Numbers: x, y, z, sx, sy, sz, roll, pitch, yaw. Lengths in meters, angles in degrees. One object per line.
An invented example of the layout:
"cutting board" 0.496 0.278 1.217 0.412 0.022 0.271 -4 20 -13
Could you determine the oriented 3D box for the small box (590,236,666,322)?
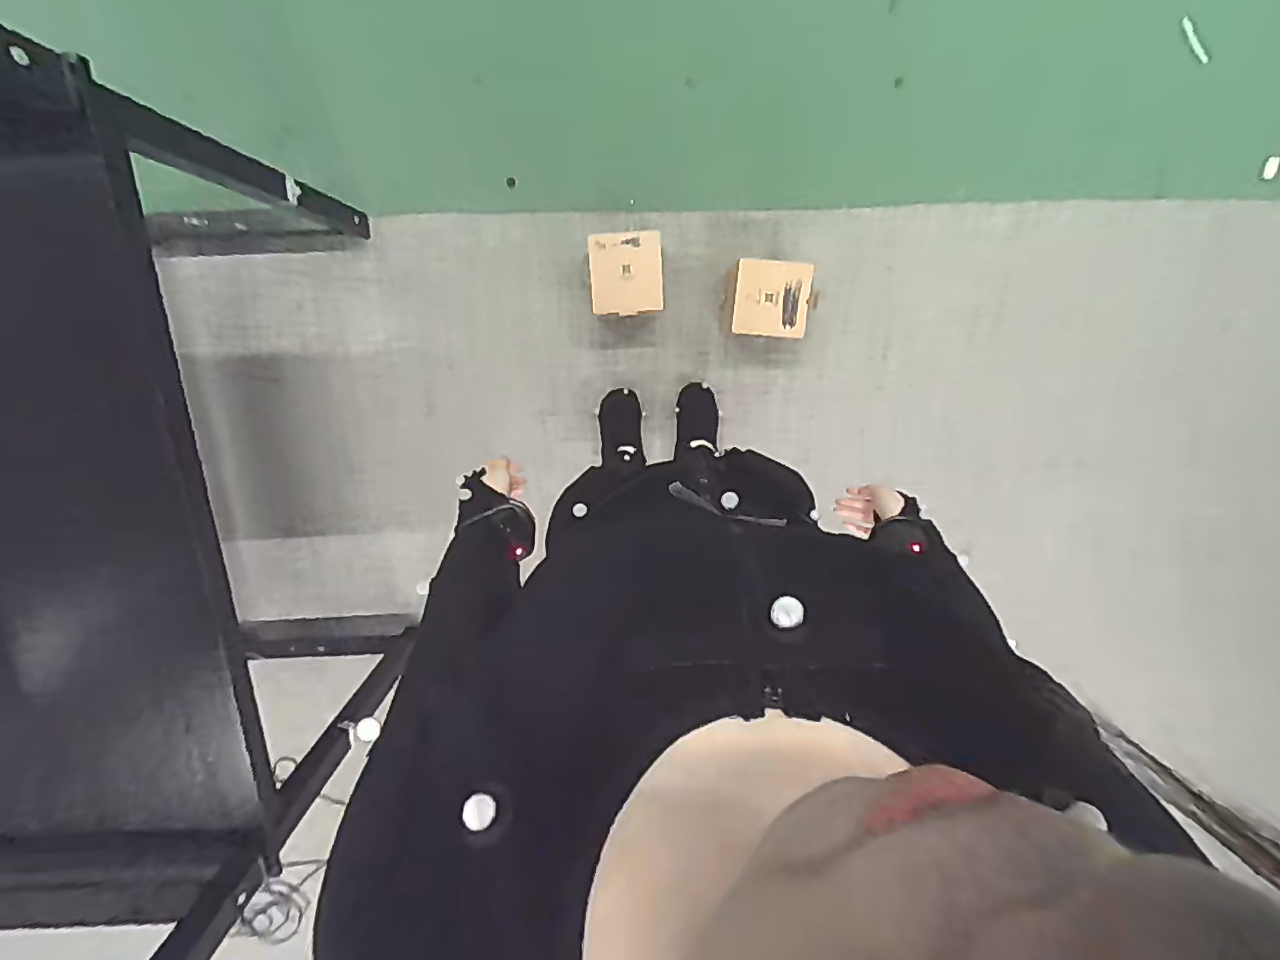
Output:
"small box" -0.024 -0.472 1.294 0.168 0.176 0.179 -4 104 1
